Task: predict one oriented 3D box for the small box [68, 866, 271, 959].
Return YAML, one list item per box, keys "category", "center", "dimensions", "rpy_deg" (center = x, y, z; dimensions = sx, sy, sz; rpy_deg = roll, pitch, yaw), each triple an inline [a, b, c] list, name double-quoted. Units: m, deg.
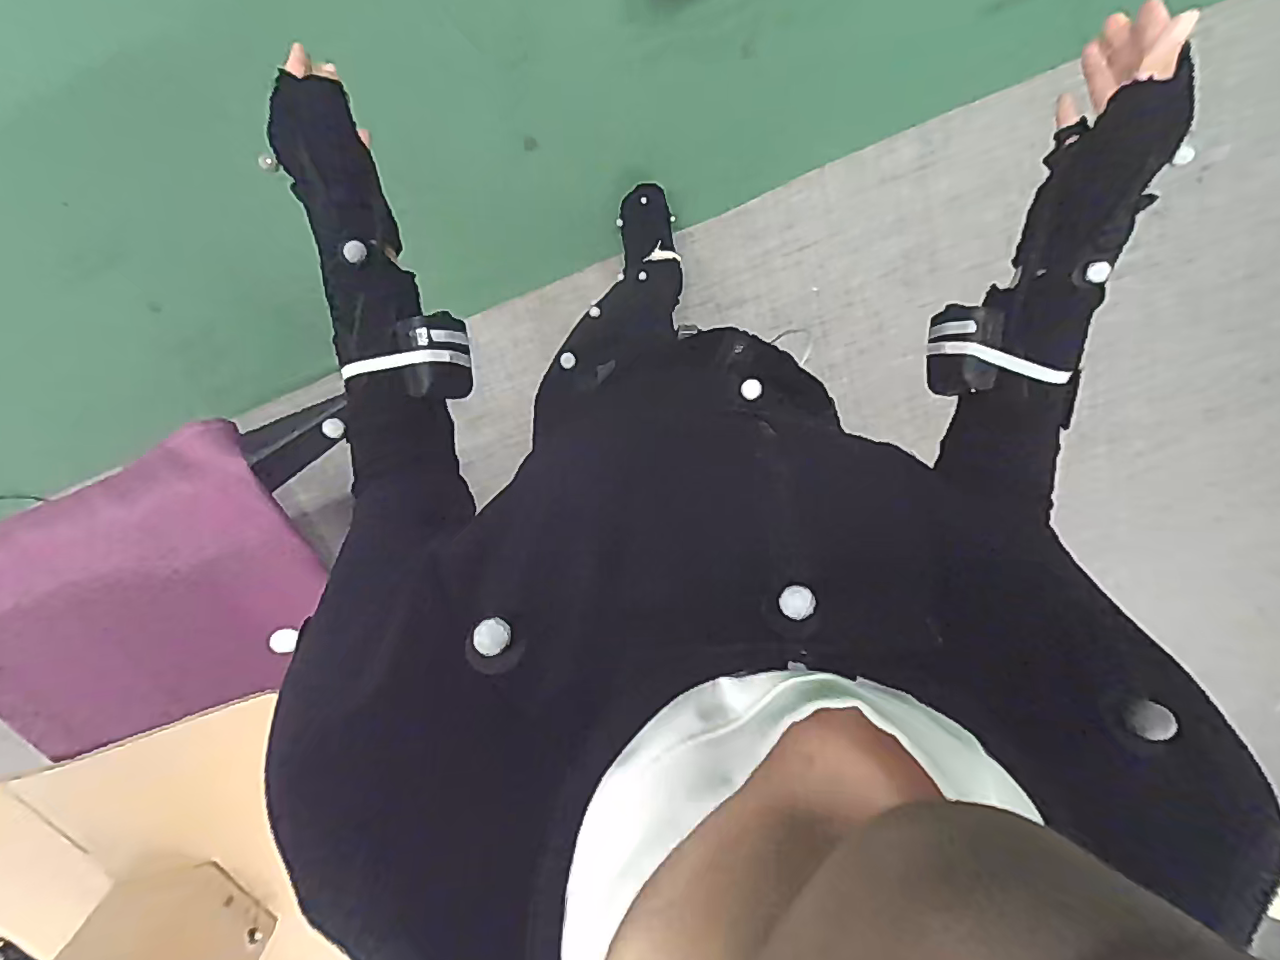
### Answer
- category: "small box"
  center: [-0.657, 0.668, 0.743]
  dimensions: [0.179, 0.176, 0.168]
  rpy_deg: [-16, 114, 8]
